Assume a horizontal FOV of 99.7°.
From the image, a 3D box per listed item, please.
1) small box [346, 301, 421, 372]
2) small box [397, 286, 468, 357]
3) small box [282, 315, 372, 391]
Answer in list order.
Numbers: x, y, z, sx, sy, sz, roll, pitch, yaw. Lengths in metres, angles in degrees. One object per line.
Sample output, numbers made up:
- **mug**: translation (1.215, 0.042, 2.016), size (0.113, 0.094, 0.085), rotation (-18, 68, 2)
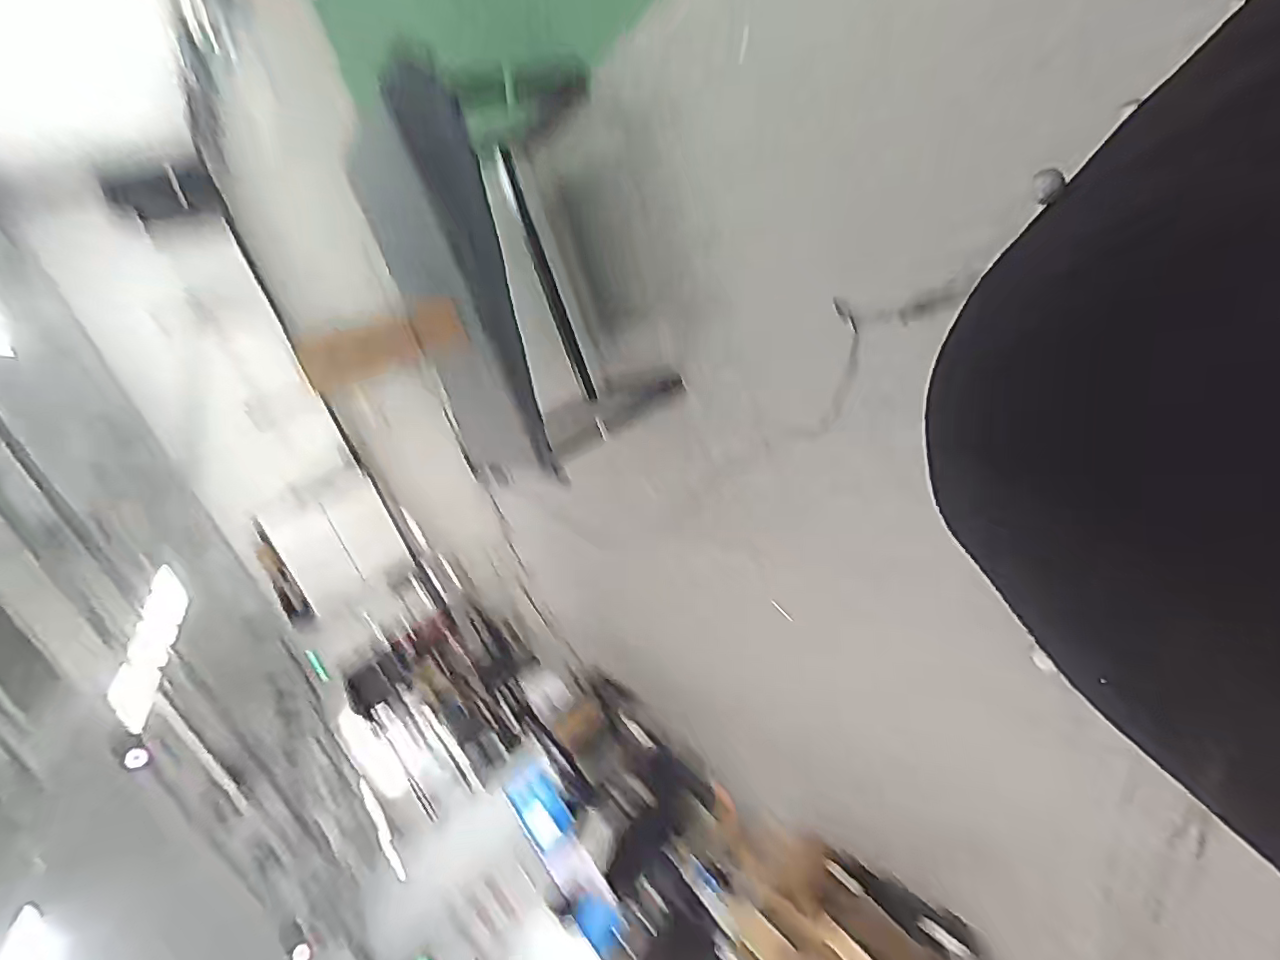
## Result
- **small box**: translation (-0.817, -0.453, 1.710), size (0.179, 0.176, 0.168), rotation (6, 122, 52)
- **small box**: translation (-0.700, -0.527, 1.797), size (0.168, 0.176, 0.179), rotation (7, 121, 53)
- **small box**: translation (-0.937, -0.383, 1.621), size (0.168, 0.176, 0.179), rotation (4, 119, 54)
